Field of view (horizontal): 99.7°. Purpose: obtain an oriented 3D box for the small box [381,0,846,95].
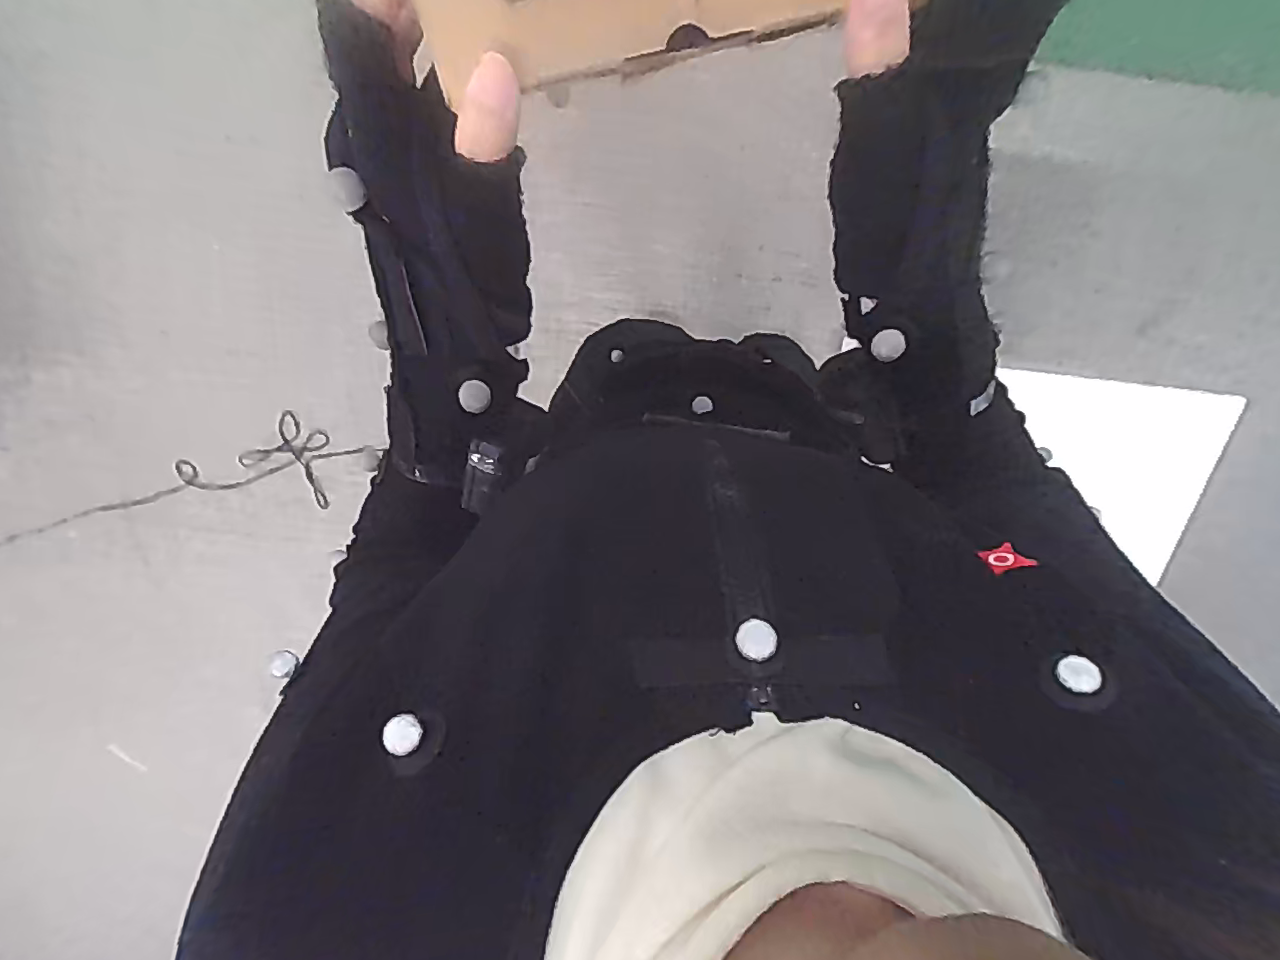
[{"bbox_3d":[-0.018,-0.261,0.188,0.168,0.176,0.179,-11,128,3],"label":"small box"}]
